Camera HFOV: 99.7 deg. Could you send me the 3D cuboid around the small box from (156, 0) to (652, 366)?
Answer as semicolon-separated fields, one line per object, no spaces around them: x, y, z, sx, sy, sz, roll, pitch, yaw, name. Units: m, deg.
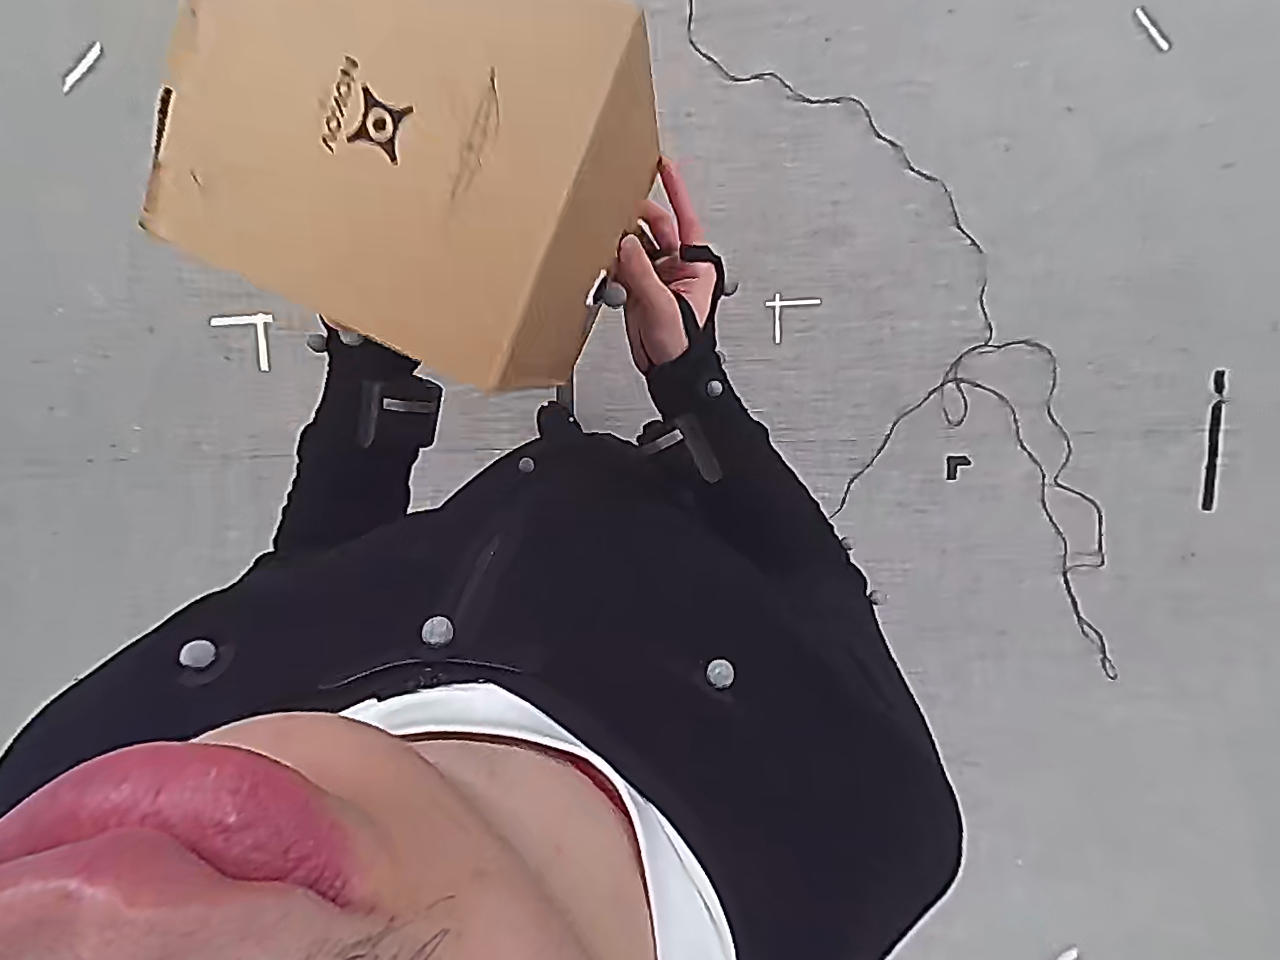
-0.105;-0.171;0.311;0.179;0.176;0.168;24;102;0;small box
